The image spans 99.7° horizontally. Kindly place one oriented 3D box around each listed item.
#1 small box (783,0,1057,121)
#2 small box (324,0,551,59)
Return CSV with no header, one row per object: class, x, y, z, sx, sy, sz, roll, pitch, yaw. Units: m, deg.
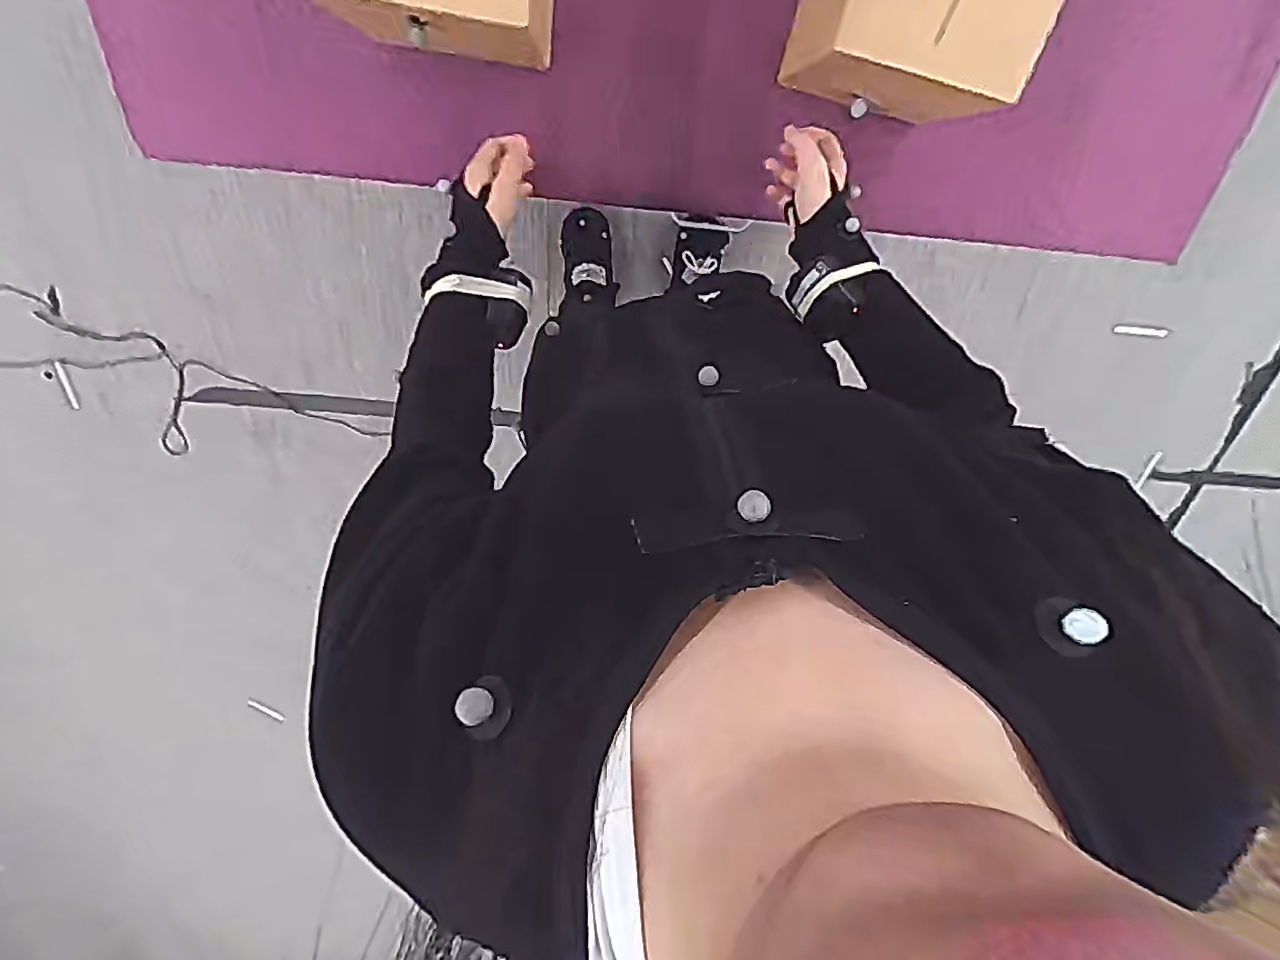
small box,0.243,-0.439,0.469,0.168,0.176,0.179,11,118,-8
small box,-0.162,-0.466,0.437,0.179,0.176,0.168,6,118,-6
